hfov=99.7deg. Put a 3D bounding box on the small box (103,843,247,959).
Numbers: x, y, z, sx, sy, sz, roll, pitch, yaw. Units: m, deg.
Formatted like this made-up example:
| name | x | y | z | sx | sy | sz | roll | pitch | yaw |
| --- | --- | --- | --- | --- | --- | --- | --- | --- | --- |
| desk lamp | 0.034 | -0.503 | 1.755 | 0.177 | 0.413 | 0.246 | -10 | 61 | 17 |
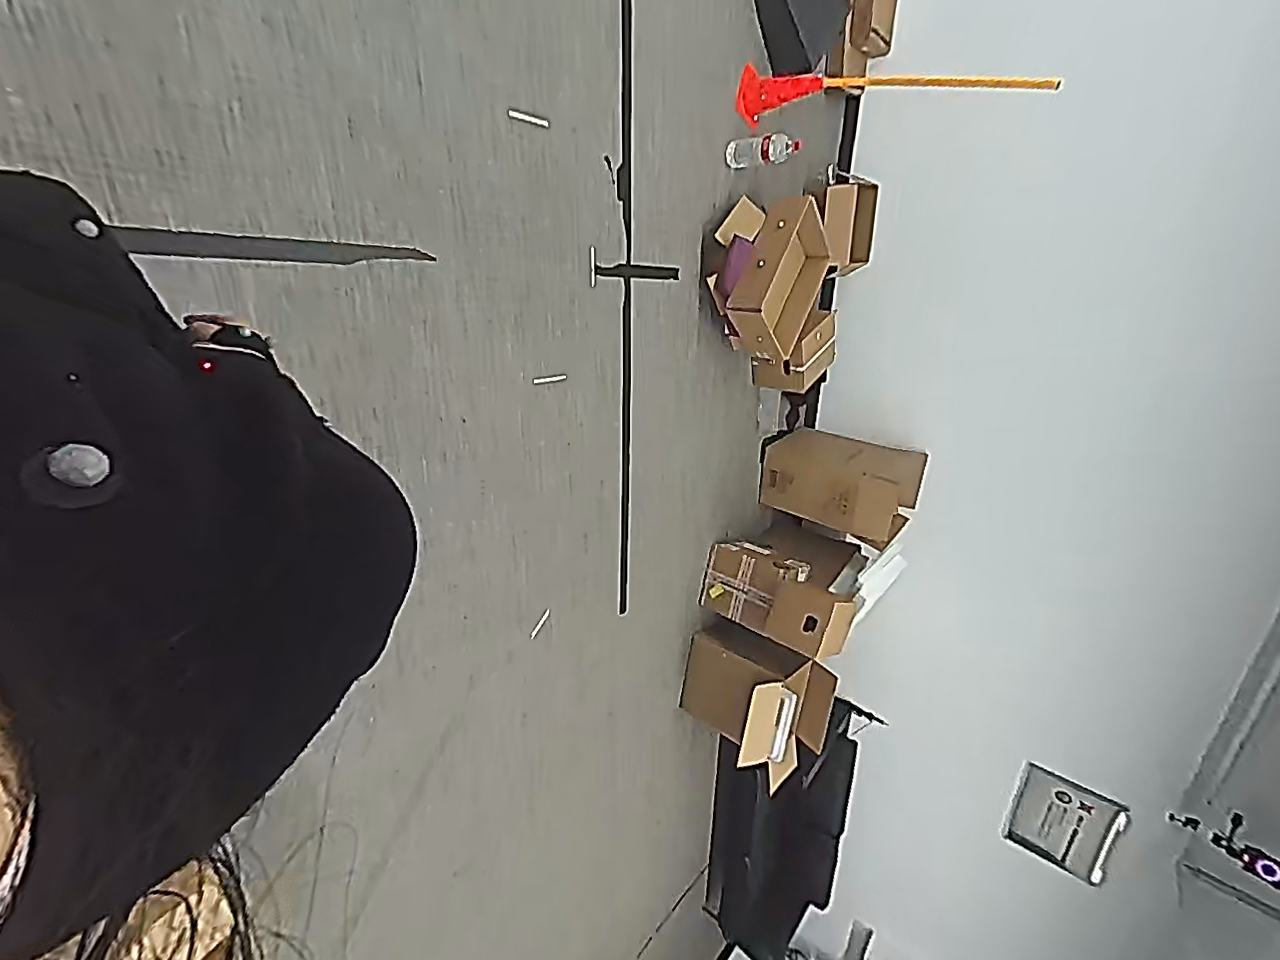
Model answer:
| name | x | y | z | sx | sy | sz | roll | pitch | yaw |
| --- | --- | --- | --- | --- | --- | --- | --- | --- | --- |
| small box | -1.015 | 0.949 | 1.184 | 0.168 | 0.176 | 0.179 | -38 | 131 | -40 |
